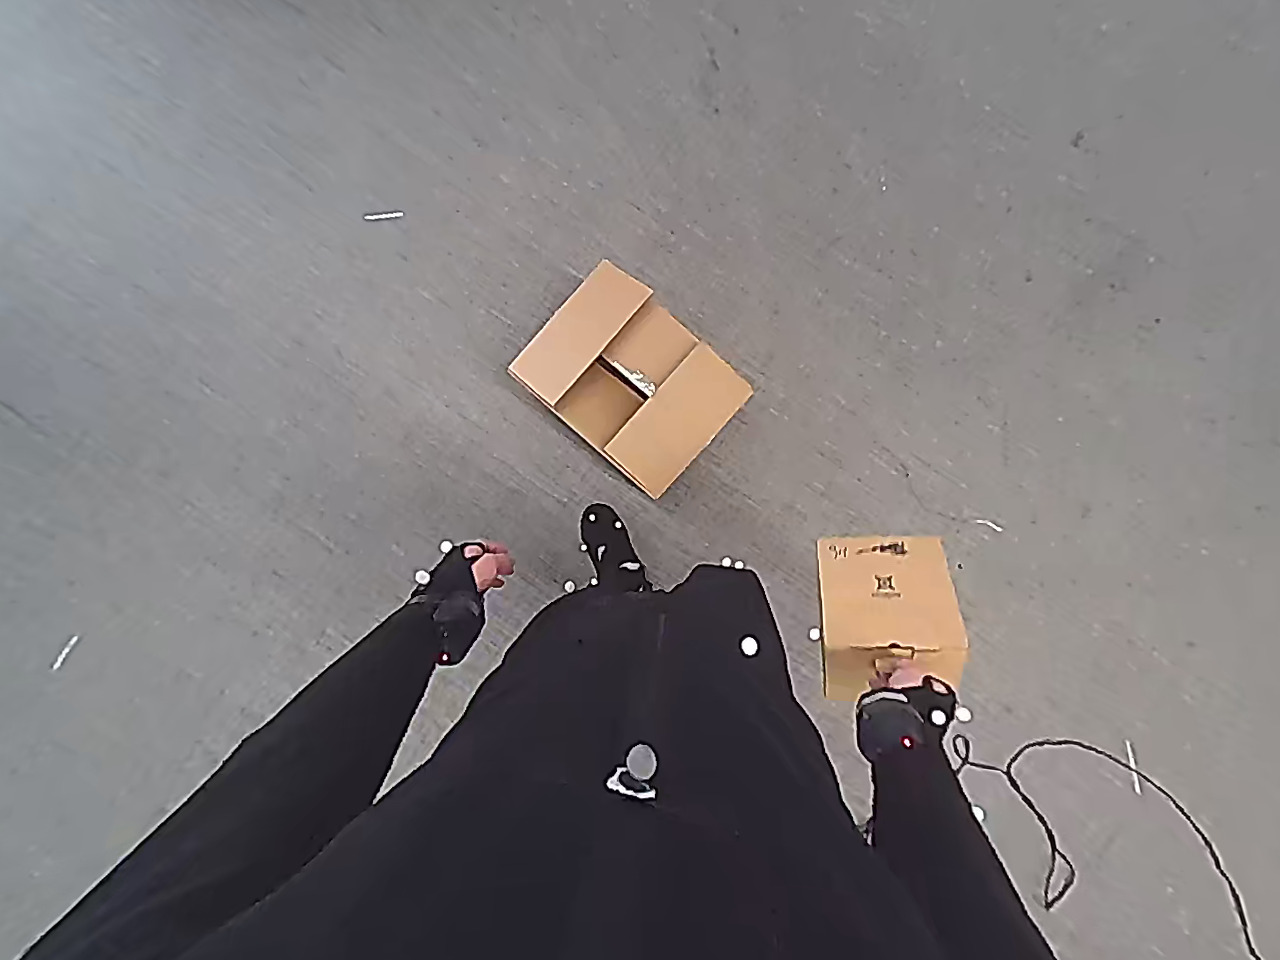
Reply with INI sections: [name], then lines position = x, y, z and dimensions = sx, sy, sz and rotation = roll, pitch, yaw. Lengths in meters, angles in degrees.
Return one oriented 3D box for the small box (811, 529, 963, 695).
[small box]
position = 0.344, 0.195, 0.776
dimensions = 0.168, 0.176, 0.179
rotation = -7, 45, 17
